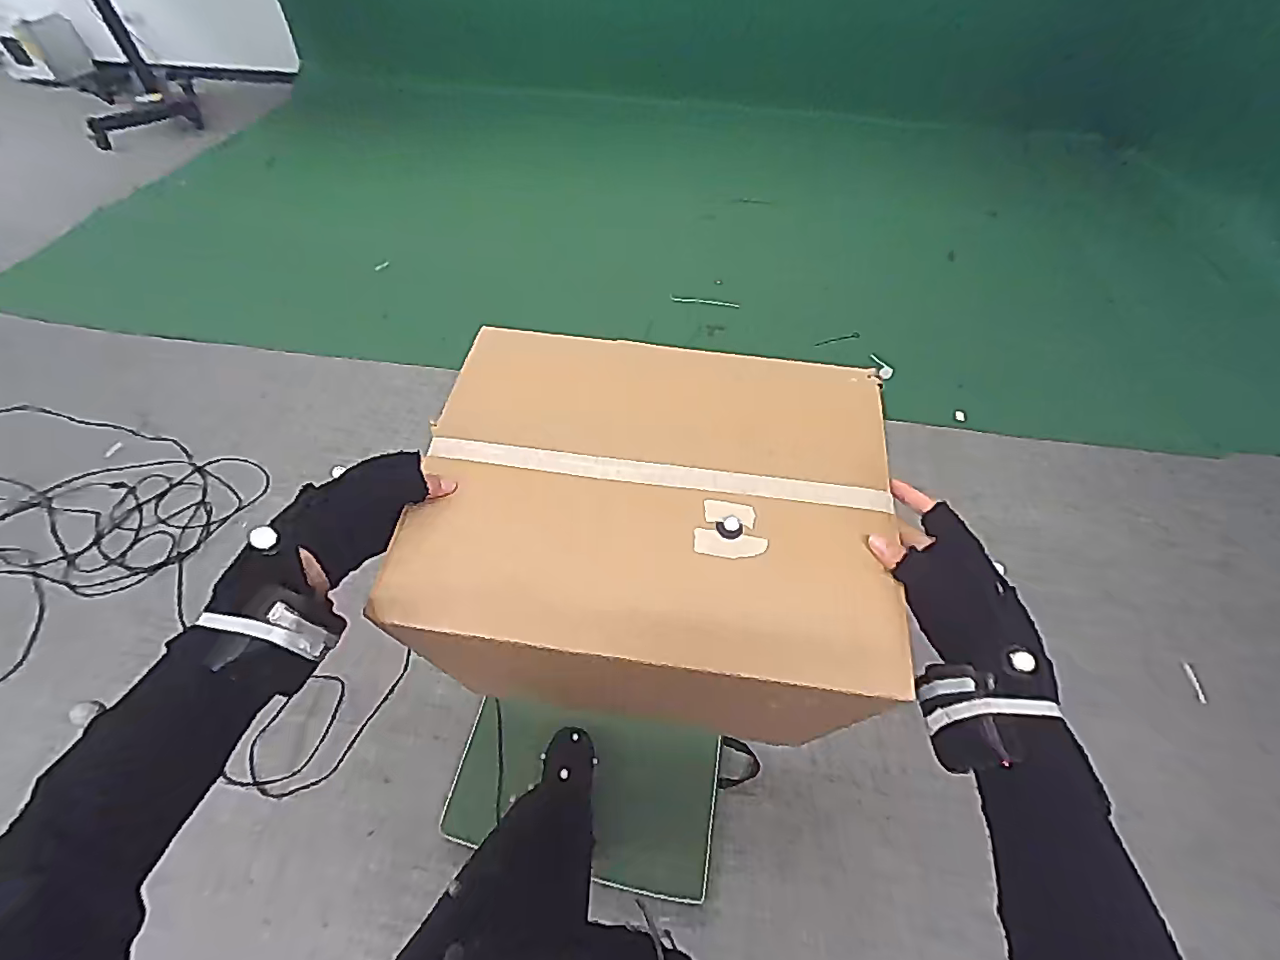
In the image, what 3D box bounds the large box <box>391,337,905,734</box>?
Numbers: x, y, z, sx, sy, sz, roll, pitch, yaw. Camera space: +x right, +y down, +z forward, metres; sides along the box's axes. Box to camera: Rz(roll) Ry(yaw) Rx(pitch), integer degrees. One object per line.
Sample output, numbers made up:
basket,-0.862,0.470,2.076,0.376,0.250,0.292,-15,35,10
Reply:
large box,0.014,0.077,0.612,0.408,0.320,0.320,8,59,3
